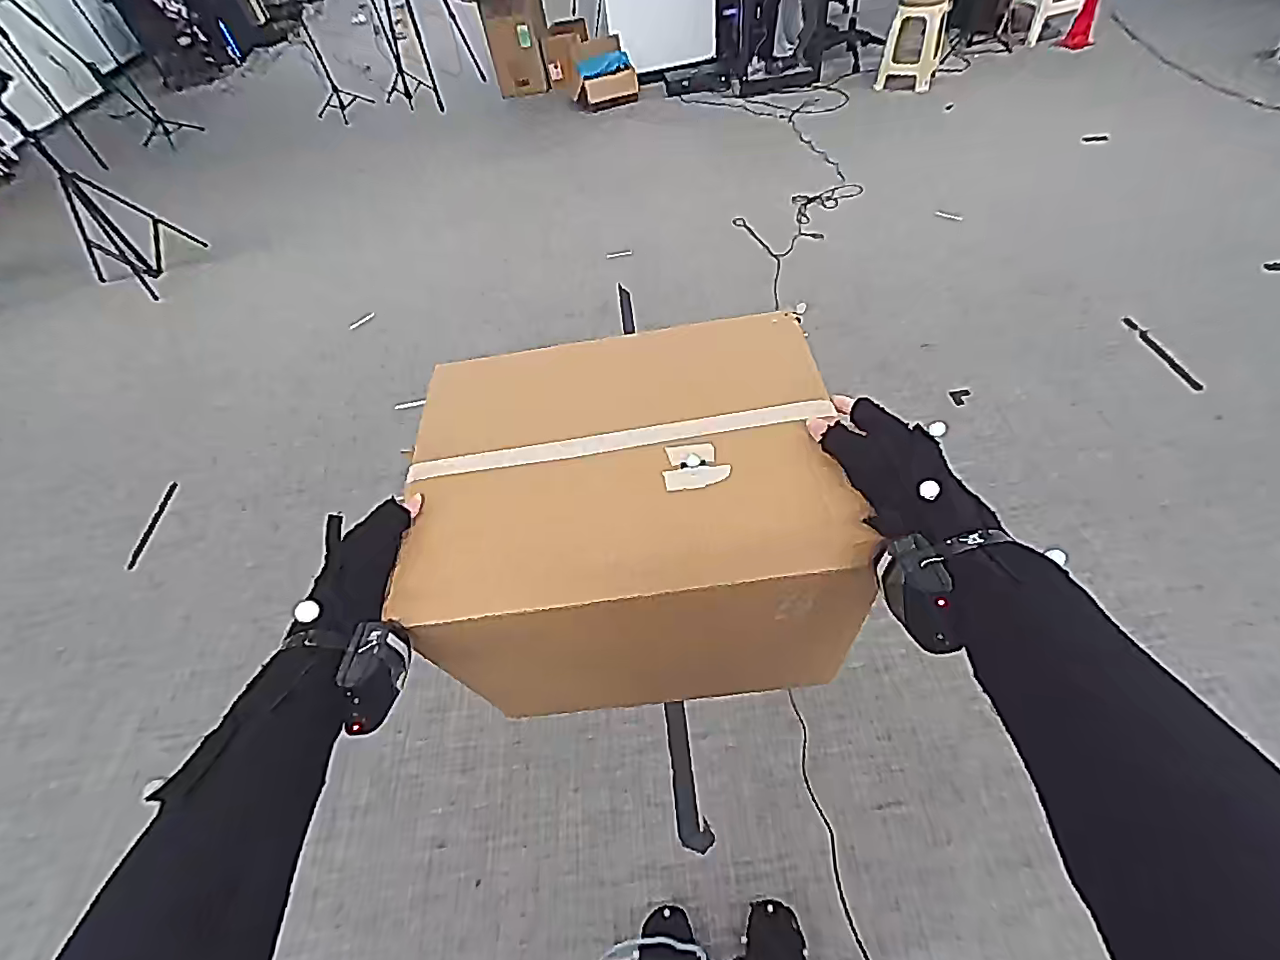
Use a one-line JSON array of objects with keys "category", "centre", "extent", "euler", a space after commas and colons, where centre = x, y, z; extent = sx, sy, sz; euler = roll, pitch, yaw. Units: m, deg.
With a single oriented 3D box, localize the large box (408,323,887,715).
[{"category": "large box", "centre": [0.006, 0.060, 0.643], "extent": [0.408, 0.320, 0.320], "euler": [-8, 53, 3]}]
